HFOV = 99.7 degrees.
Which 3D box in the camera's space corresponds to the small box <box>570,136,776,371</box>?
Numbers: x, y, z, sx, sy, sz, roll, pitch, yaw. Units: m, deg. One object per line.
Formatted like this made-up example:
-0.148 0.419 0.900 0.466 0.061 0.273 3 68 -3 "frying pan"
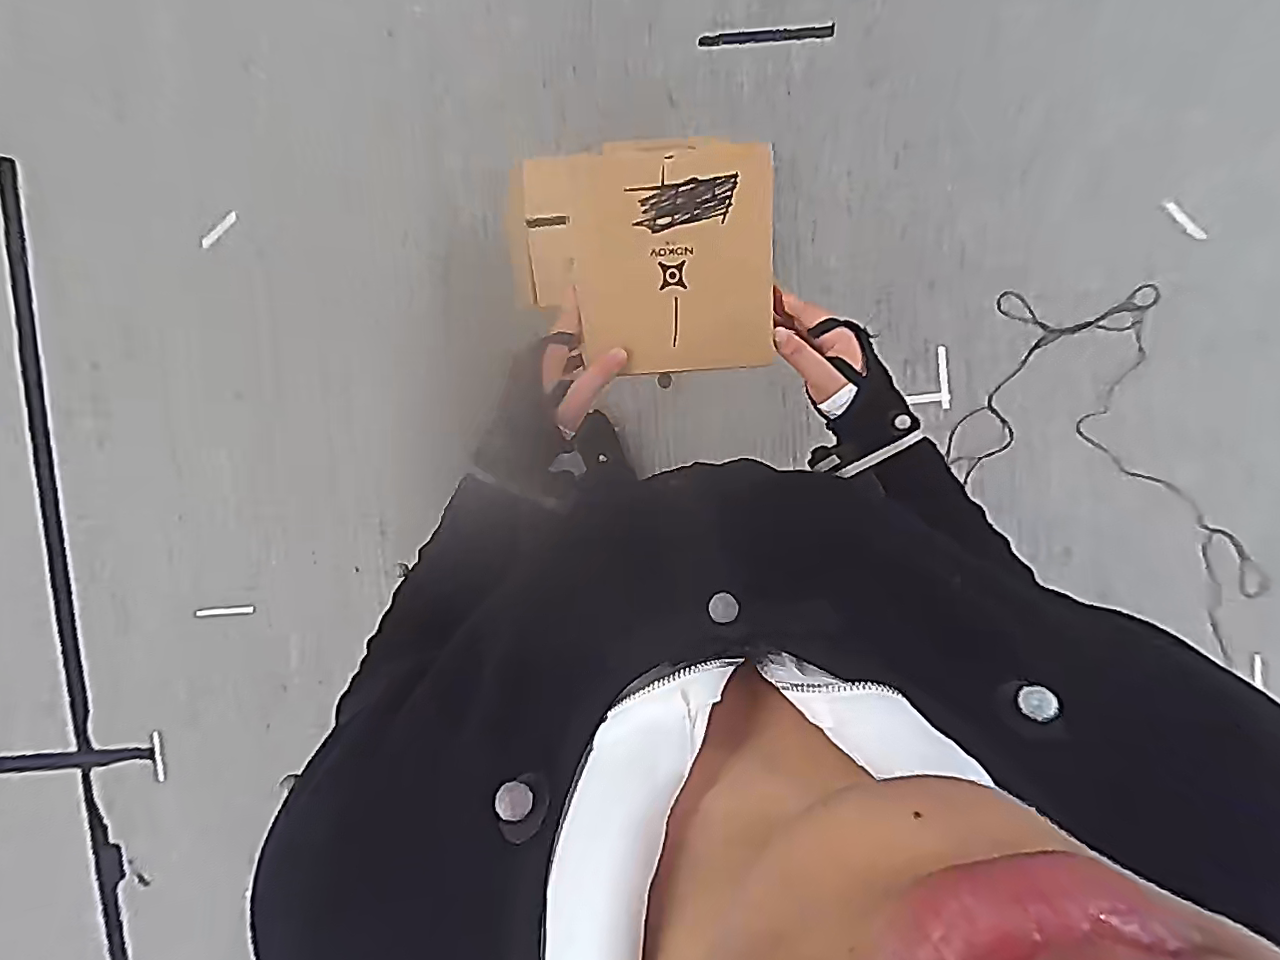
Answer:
0.027 -0.196 0.515 0.168 0.176 0.179 -3 103 0 "small box"
